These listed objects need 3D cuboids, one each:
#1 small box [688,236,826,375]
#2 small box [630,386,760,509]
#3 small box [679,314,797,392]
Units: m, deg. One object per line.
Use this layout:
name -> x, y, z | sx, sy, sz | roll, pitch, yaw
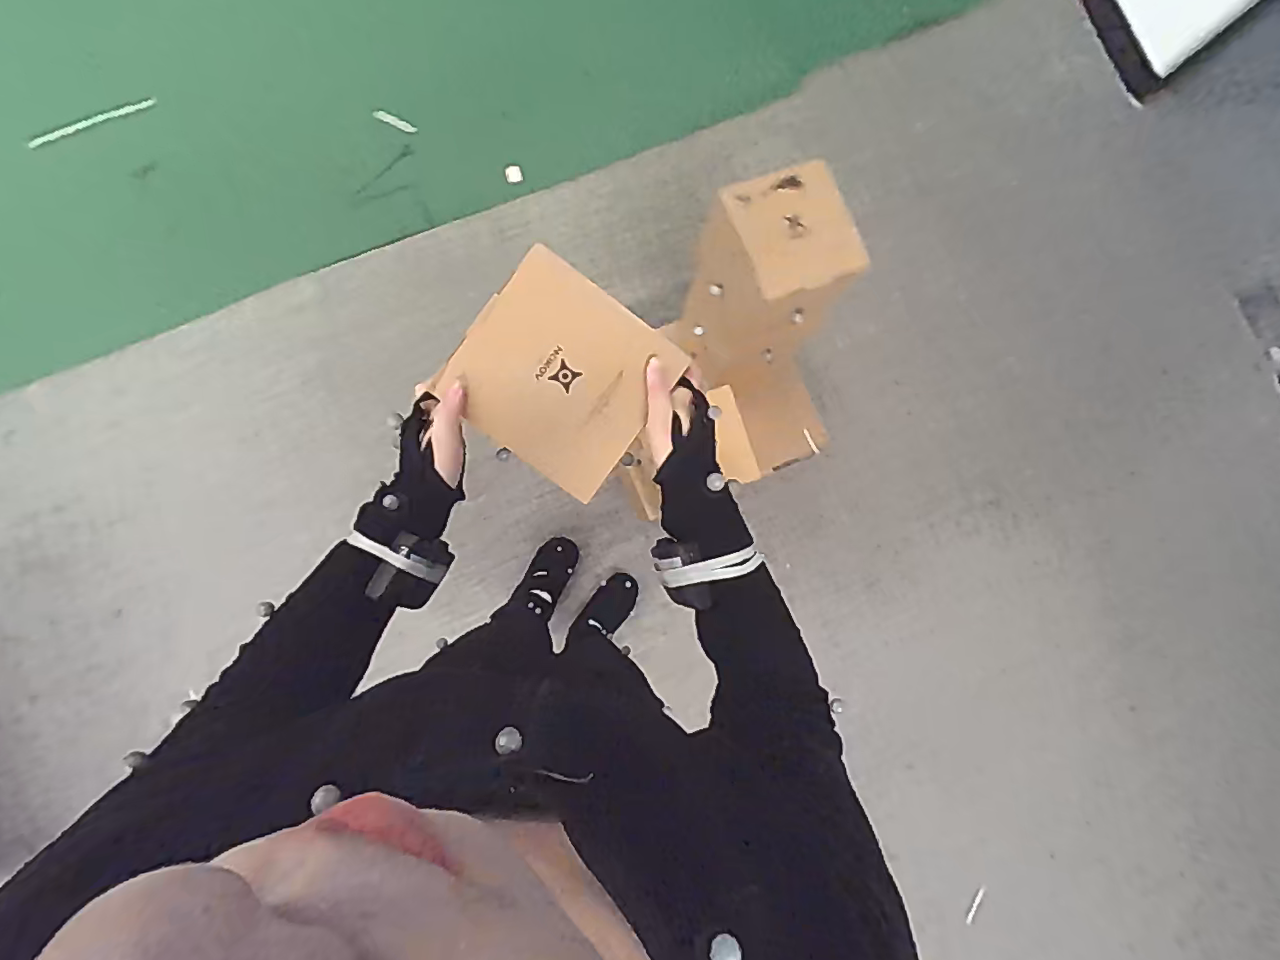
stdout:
small box -> 0.206, -0.313, 0.998 | 0.179, 0.176, 0.168 | -19, 86, -7
small box -> 0.088, -0.052, 0.966 | 0.179, 0.176, 0.168 | -18, 88, -4
small box -> 0.202, -0.308, 1.163 | 0.179, 0.176, 0.168 | -22, 86, -8
